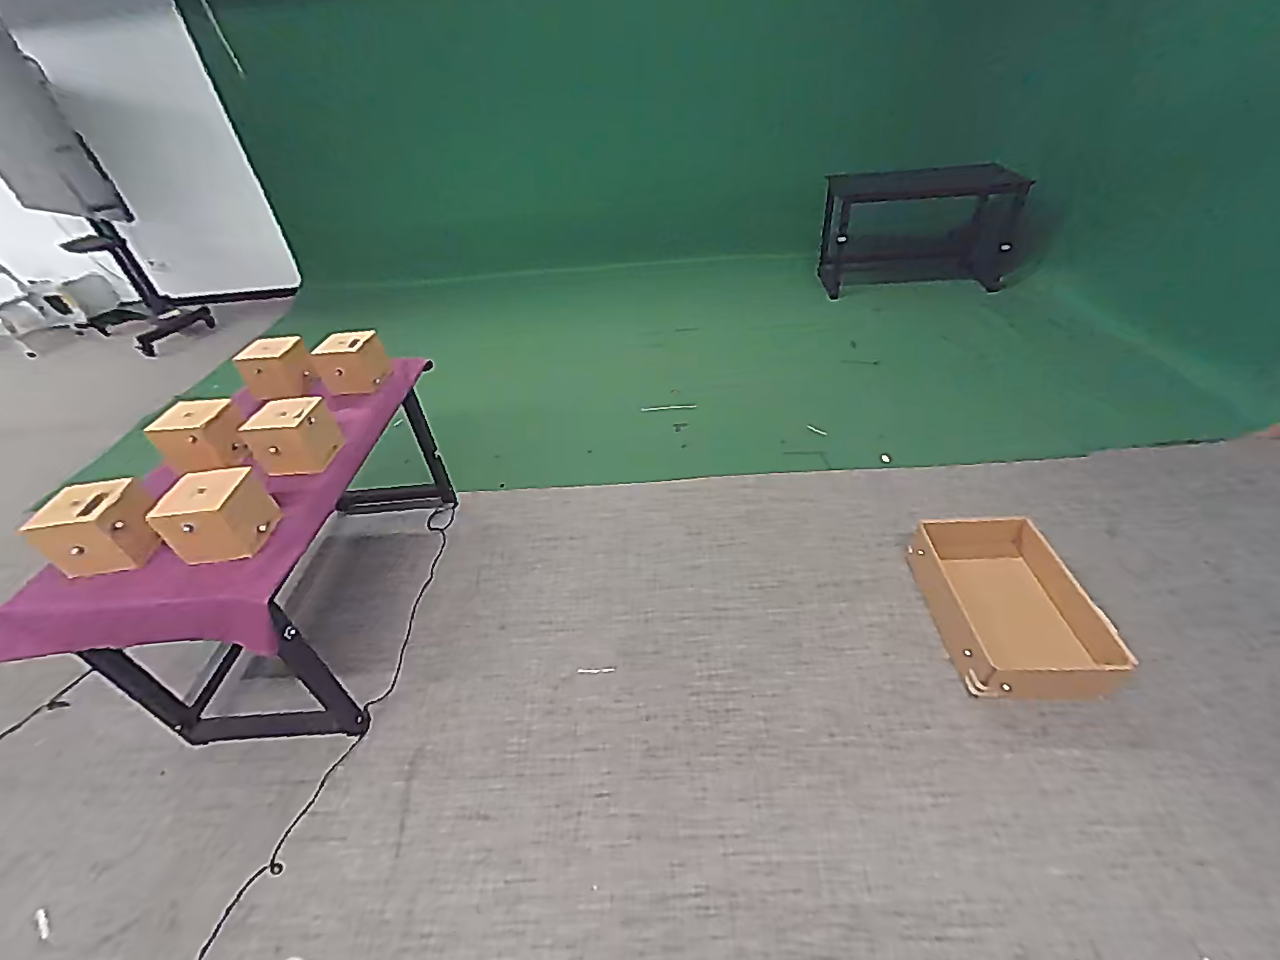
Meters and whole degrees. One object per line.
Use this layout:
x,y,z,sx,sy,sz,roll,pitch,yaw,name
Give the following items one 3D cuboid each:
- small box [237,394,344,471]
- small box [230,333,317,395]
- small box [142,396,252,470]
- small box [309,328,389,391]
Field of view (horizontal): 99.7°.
-1.036,-0.139,1.620,0.179,0.176,0.168,-4,40,5,small box
-1.347,-0.427,2.002,0.179,0.176,0.168,-2,41,3,small box
-1.347,-0.143,1.665,0.179,0.176,0.168,-3,39,2,small box
-1.057,-0.441,1.983,0.179,0.176,0.168,-2,41,7,small box
